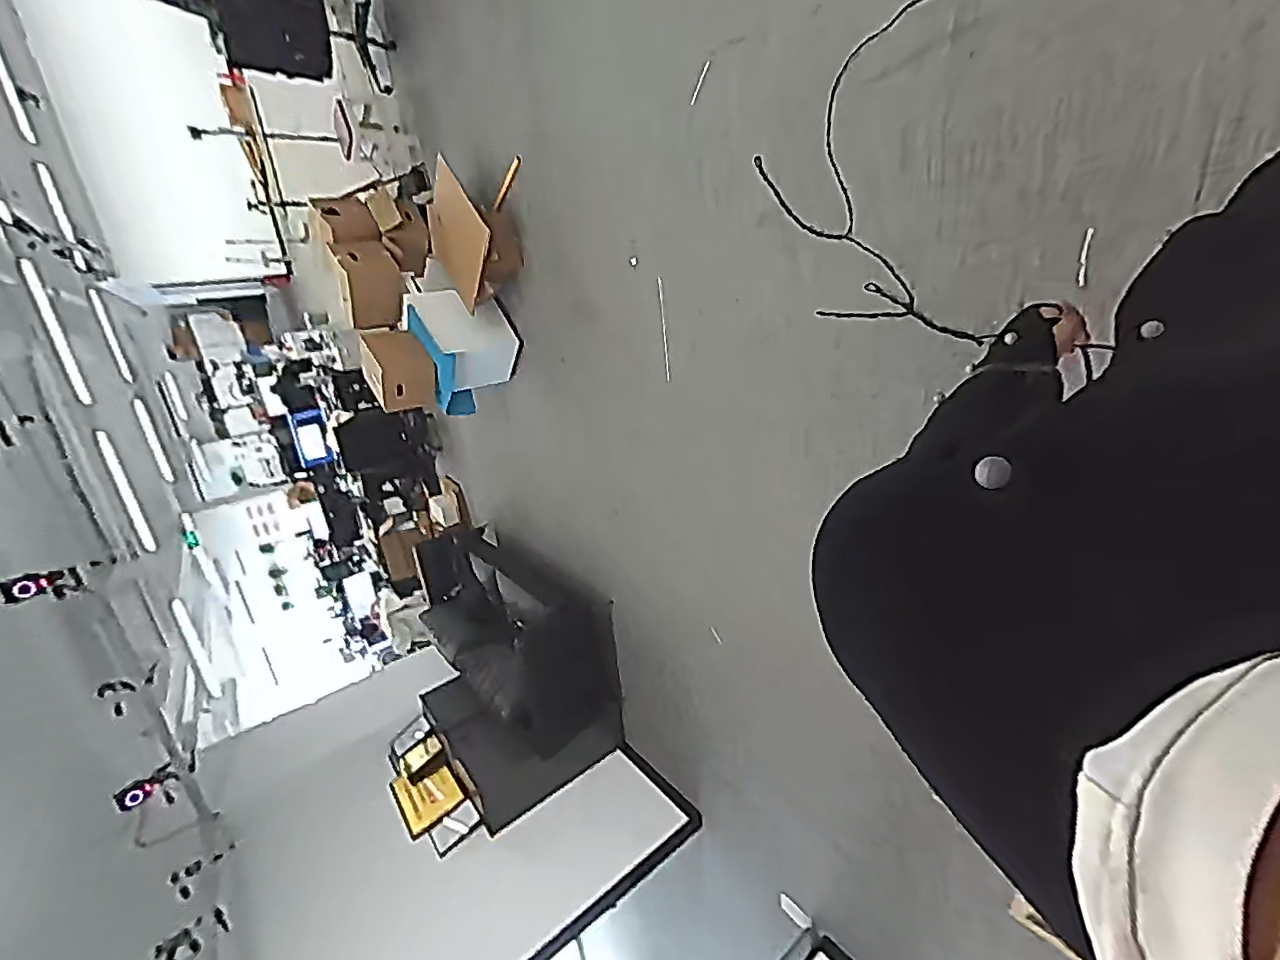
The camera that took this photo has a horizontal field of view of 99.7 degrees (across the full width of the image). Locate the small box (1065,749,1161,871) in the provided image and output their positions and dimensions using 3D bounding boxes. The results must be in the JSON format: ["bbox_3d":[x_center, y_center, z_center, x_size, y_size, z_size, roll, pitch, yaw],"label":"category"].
[{"bbox_3d":[1.213,0.846,1.406,0.168,0.176,0.179,21,122,49],"label":"small box"}]

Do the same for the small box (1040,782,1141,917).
[{"bbox_3d":[1.084,0.888,1.320,0.168,0.176,0.179,20,121,49],"label":"small box"}]

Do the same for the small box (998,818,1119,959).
[{"bbox_3d":[0.952,0.931,1.231,0.168,0.176,0.179,20,121,49],"label":"small box"}]
